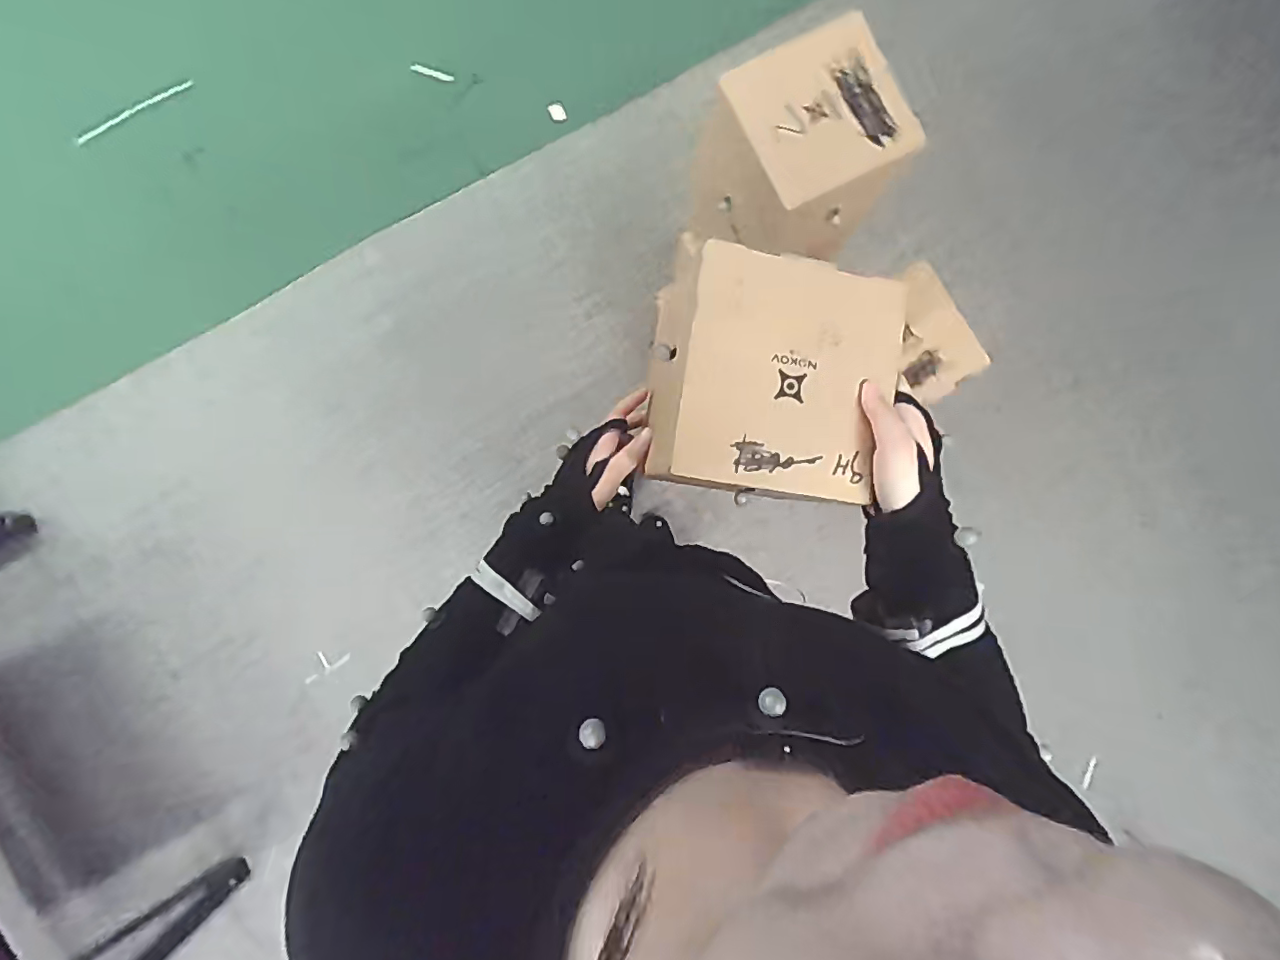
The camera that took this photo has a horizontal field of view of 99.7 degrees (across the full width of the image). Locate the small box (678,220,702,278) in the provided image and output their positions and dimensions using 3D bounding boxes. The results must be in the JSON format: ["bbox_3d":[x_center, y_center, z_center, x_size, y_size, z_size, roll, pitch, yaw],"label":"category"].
[{"bbox_3d":[0.180,-0.388,0.989,0.179,0.176,0.168,-28,90,-2],"label":"small box"}]

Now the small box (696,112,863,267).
[{"bbox_3d":[0.197,-0.399,0.825,0.179,0.176,0.168,-26,90,-2],"label":"small box"}]

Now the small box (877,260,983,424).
[{"bbox_3d":[0.362,-0.190,0.824,0.168,0.176,0.179,-29,87,-3],"label":"small box"}]

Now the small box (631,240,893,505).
[{"bbox_3d":[0.092,-0.078,0.482,0.168,0.176,0.179,9,89,-9],"label":"small box"}]
